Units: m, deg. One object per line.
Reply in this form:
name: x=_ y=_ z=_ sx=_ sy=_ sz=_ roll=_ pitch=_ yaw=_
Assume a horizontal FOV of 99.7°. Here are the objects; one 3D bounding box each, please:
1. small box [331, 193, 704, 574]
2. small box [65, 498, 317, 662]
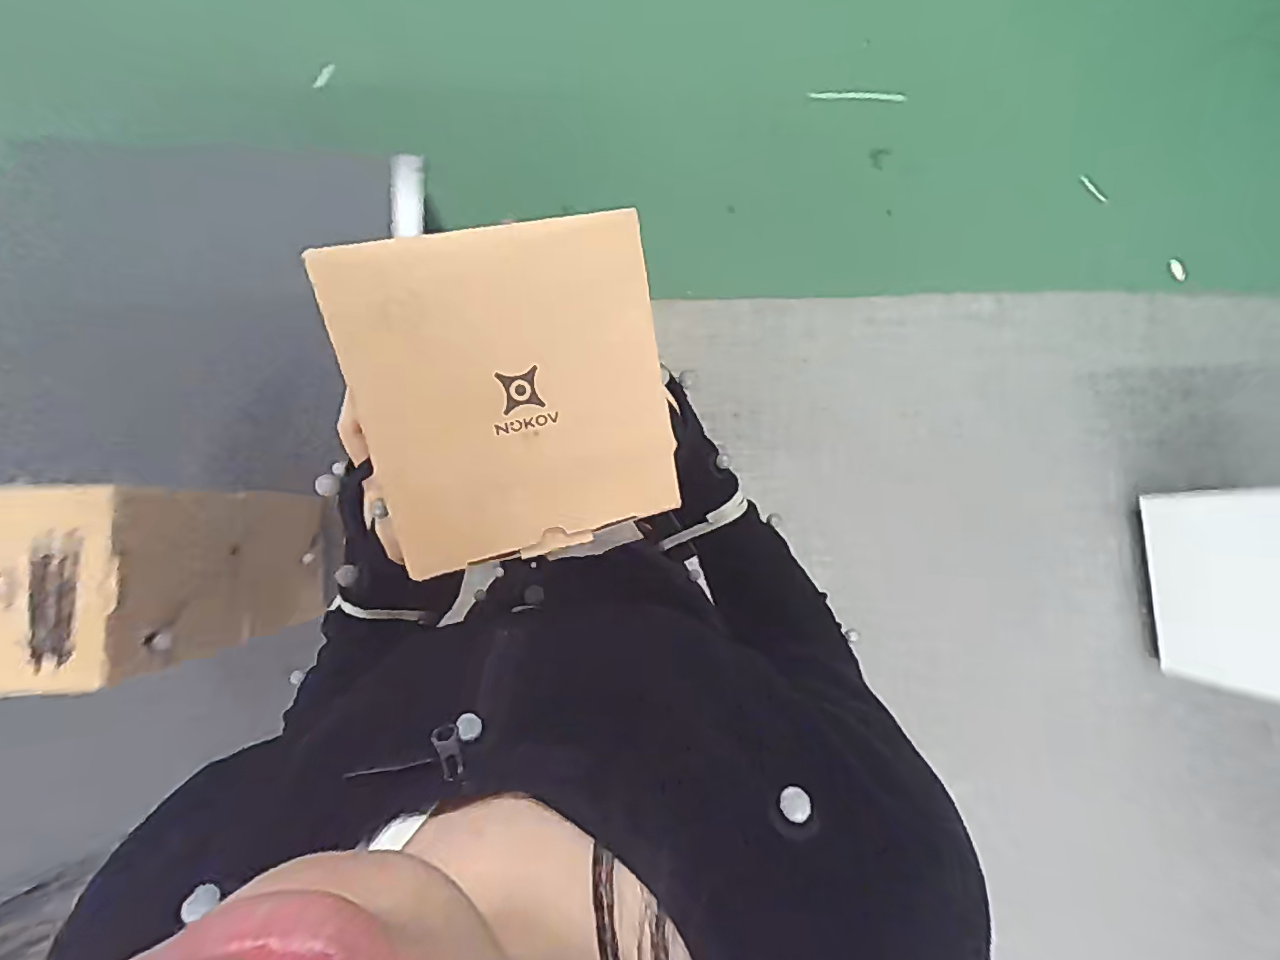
small box: x=-0.075 y=-0.067 z=0.358 sx=0.168 sy=0.176 sz=0.179 roll=-14 pitch=108 yaw=-14
small box: x=-0.528 y=0.114 z=0.660 sx=0.179 sy=0.176 sz=0.168 roll=-5 pitch=85 yaw=-4
